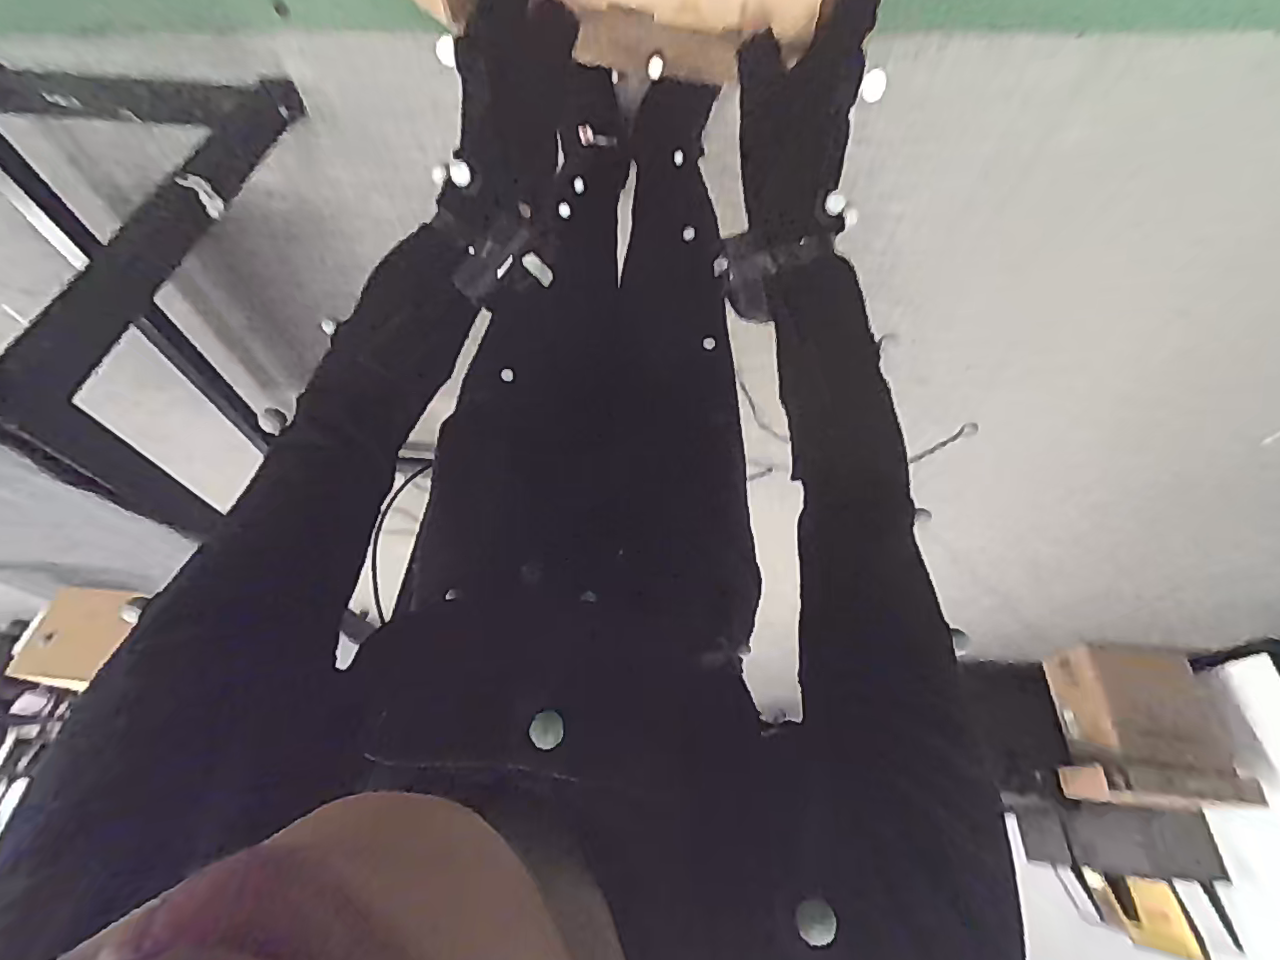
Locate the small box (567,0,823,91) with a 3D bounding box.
[{"bbox_3d":[0.039,-0.398,0.372,0.168,0.176,0.179,6,119,-6],"label":"small box"}]
